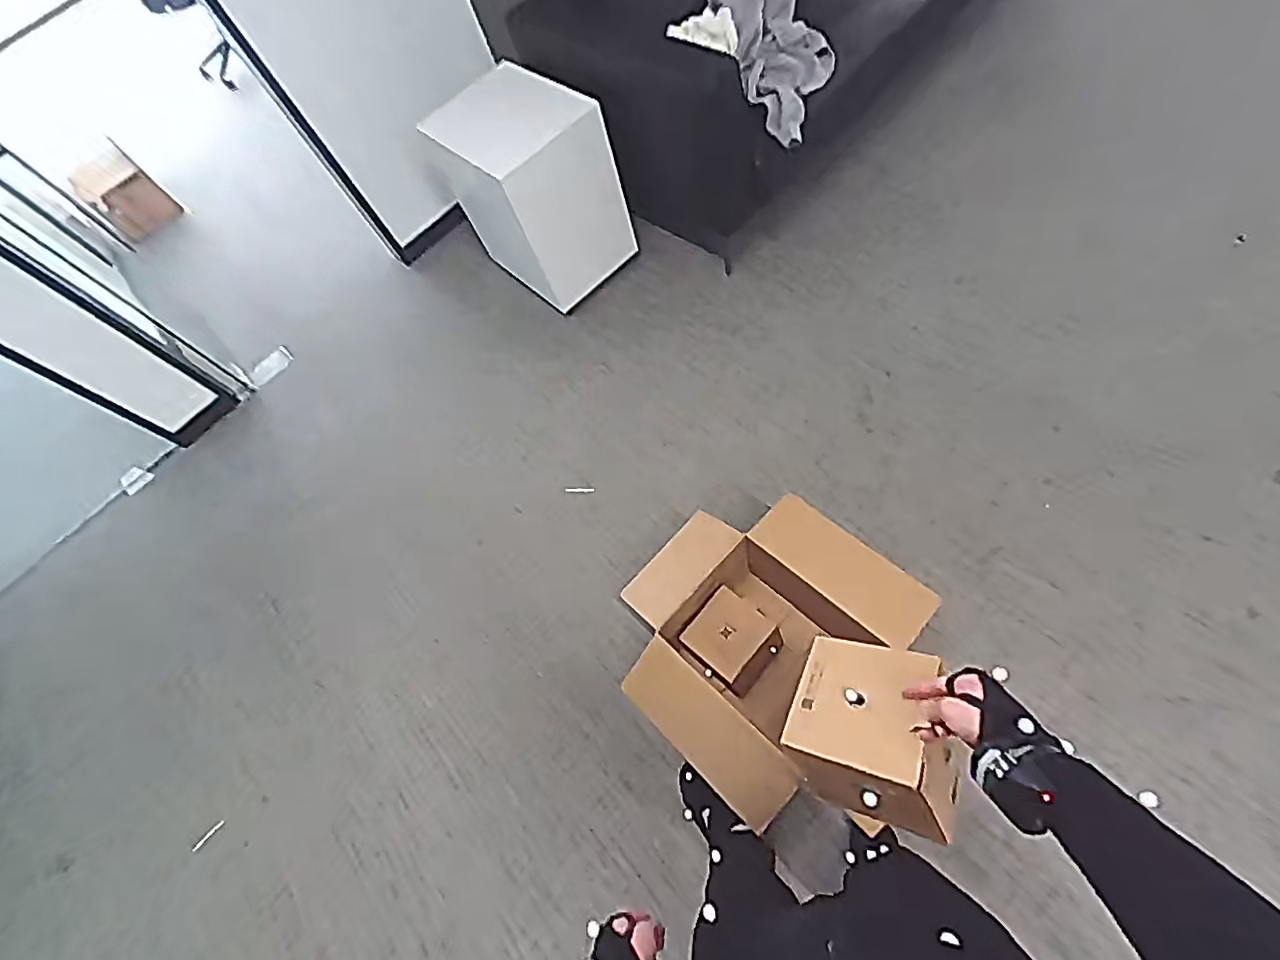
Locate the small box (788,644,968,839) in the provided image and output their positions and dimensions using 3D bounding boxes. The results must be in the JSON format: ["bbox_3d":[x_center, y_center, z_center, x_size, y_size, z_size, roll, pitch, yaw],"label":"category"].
[{"bbox_3d":[0.321,0.338,0.727,0.176,0.179,0.168,-5,44,43],"label":"small box"}]
